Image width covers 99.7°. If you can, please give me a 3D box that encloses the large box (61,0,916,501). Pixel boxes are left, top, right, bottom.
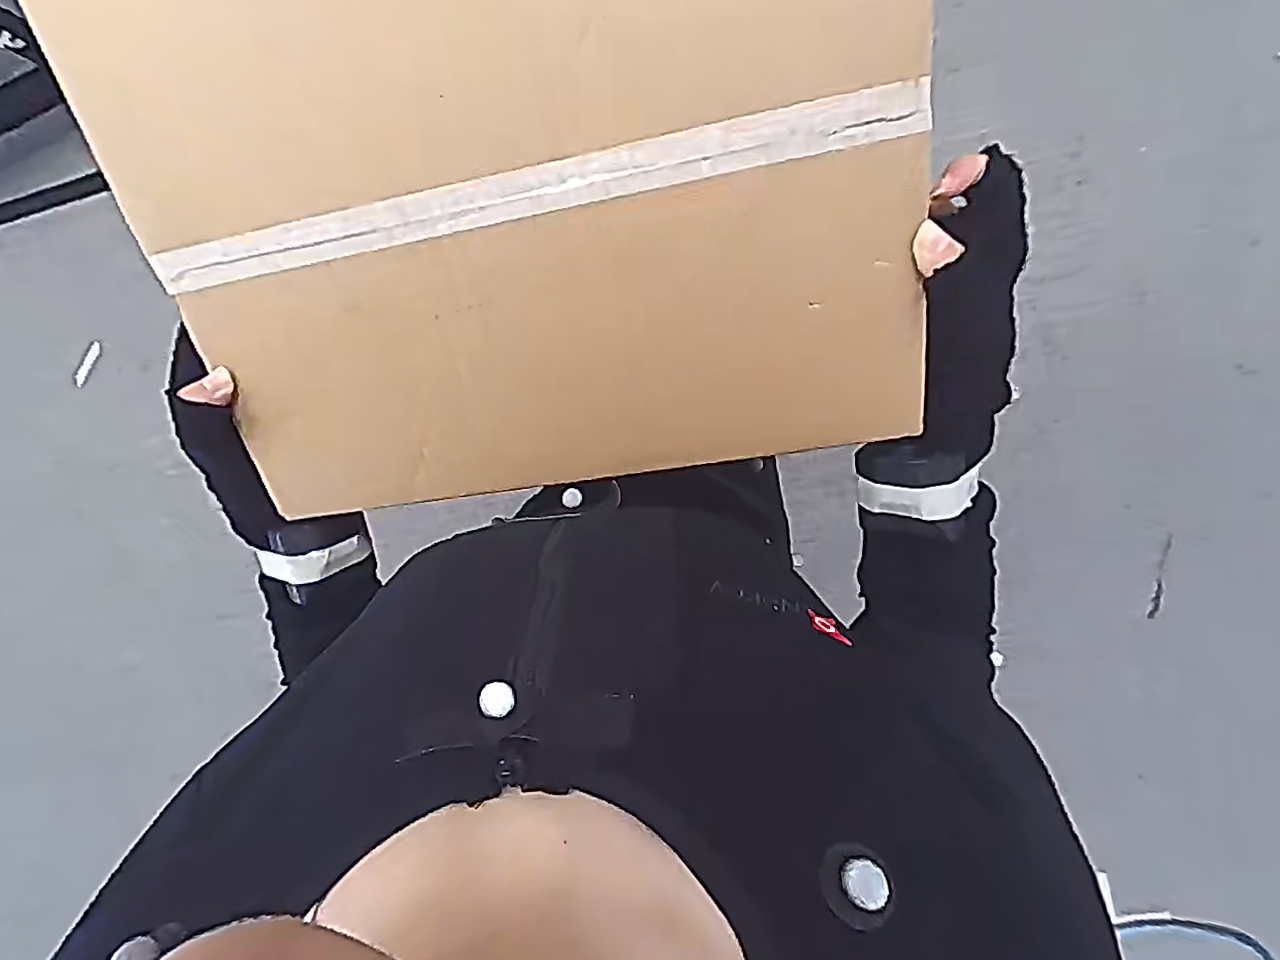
[{"bbox_3d":[-0.056,-0.211,0.416,0.408,0.320,0.320,-8,114,8],"label":"large box"}]
